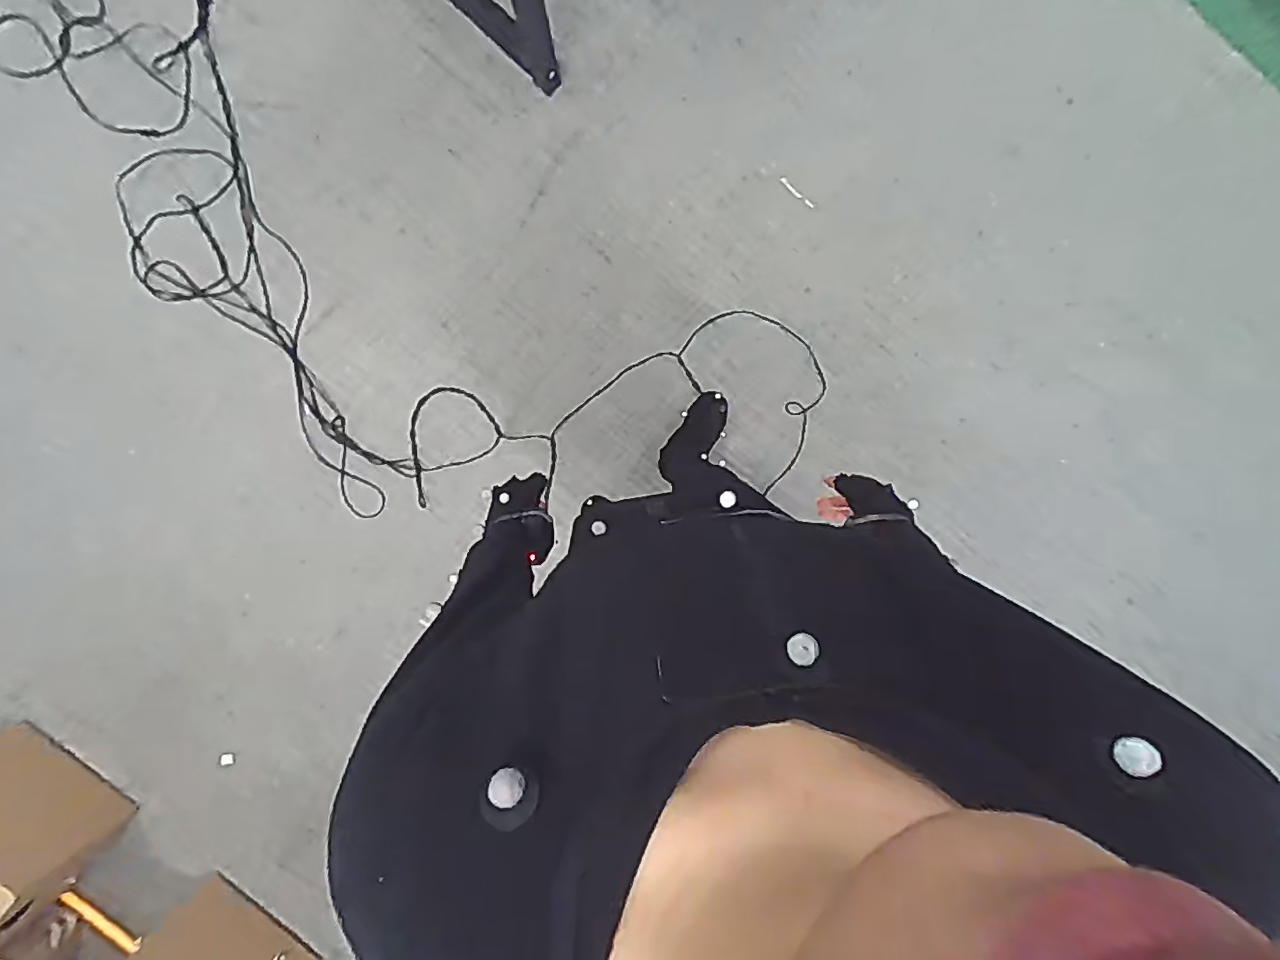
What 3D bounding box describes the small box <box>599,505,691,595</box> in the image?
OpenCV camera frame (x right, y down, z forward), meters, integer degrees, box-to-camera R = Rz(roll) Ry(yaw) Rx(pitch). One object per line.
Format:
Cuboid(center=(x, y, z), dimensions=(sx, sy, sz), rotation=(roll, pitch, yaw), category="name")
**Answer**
Cuboid(center=(0.008, 0.176, 1.426), dimensions=(0.168, 0.176, 0.179), rotation=(-23, 98, -16), category="small box")
